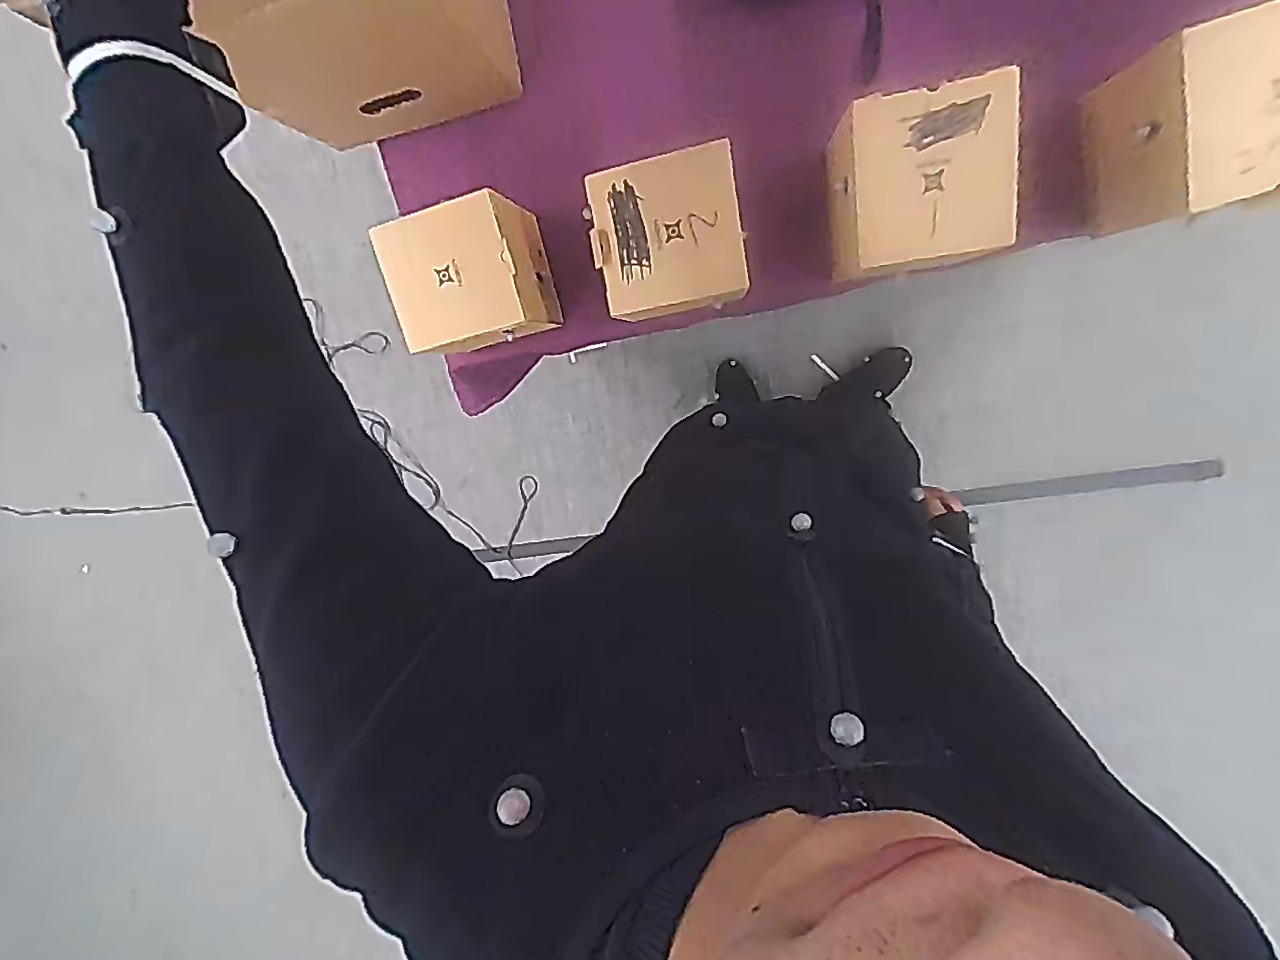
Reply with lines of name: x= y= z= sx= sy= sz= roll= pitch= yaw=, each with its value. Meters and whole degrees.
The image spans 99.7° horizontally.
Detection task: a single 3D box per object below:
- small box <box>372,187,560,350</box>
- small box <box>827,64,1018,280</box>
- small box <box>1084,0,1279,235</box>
small box: x=-0.235 y=-0.287 z=0.775 sx=0.179 sy=0.176 sz=0.168 roll=-13 pitch=103 yaw=11
small box: x=0.331 y=-0.357 z=0.664 sx=0.168 sy=0.176 sz=0.179 roll=-6 pitch=104 yaw=11
small box: x=0.636 y=-0.397 z=0.602 sx=0.168 sy=0.176 sz=0.179 roll=-11 pitch=103 yaw=13
